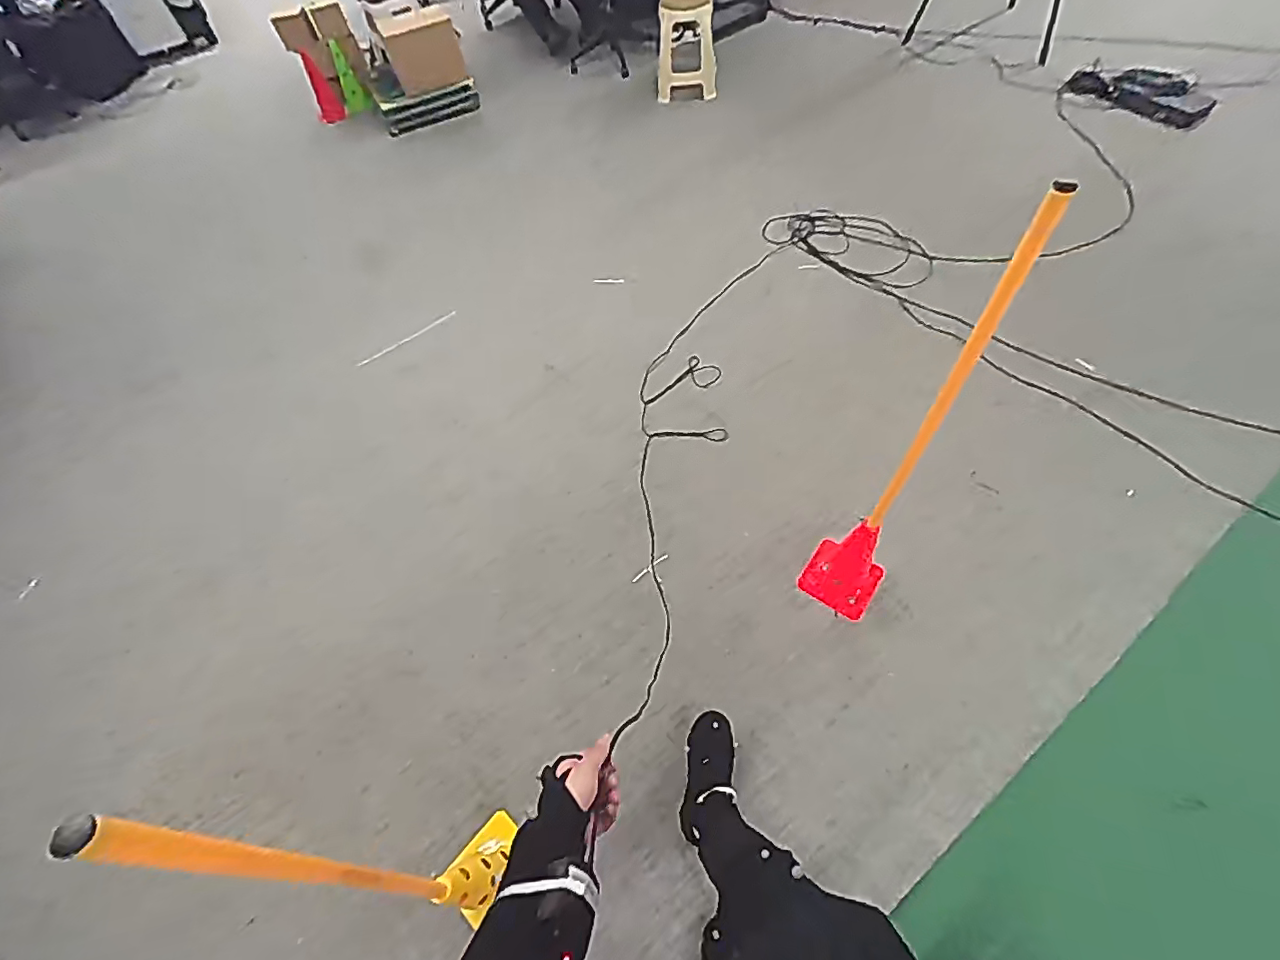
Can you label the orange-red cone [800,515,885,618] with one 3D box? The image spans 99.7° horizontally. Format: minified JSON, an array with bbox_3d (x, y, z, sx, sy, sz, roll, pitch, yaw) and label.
[{"bbox_3d":[0.586,0.194,1.456,0.198,0.360,0.199,32,65,22],"label":"orange-red cone"}]
